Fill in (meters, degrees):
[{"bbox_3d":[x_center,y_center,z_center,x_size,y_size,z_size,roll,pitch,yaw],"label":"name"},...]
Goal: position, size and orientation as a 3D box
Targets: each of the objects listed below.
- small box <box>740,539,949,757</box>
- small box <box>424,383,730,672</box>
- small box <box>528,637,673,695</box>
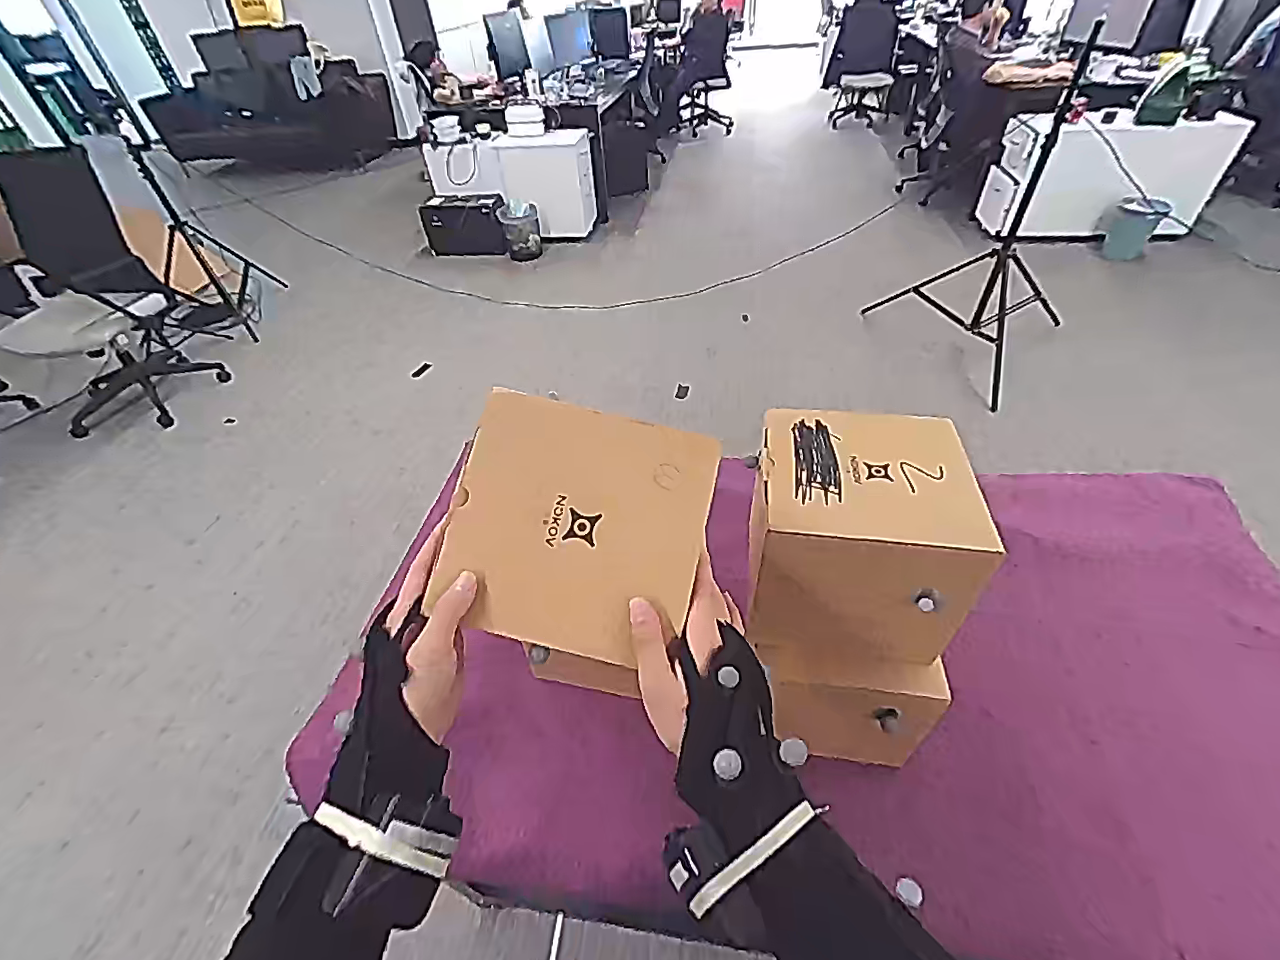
[{"bbox_3d":[0.210,0.190,0.609,0.179,0.176,0.168,4,43,9],"label":"small box"},{"bbox_3d":[-0.040,0.043,0.444,0.179,0.176,0.168,13,78,3],"label":"small box"},{"bbox_3d":[-0.036,0.145,0.674,0.179,0.176,0.168,8,44,10],"label":"small box"}]
